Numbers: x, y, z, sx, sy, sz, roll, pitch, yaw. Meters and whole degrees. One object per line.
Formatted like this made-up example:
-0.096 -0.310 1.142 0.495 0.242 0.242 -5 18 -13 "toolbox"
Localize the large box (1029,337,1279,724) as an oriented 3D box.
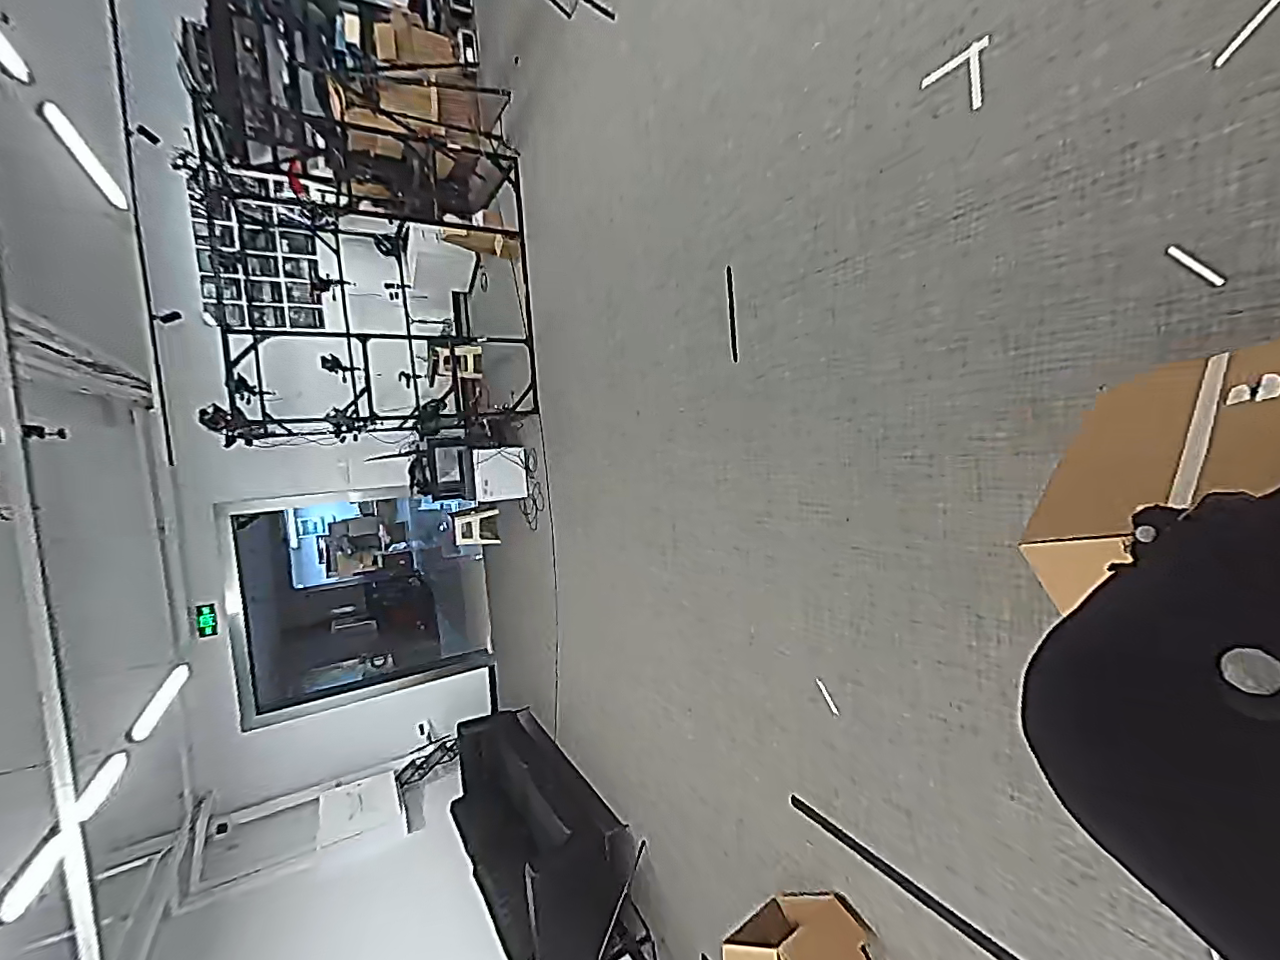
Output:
0.794 0.056 0.696 0.320 0.408 0.320 54 151 -9 "large box"
